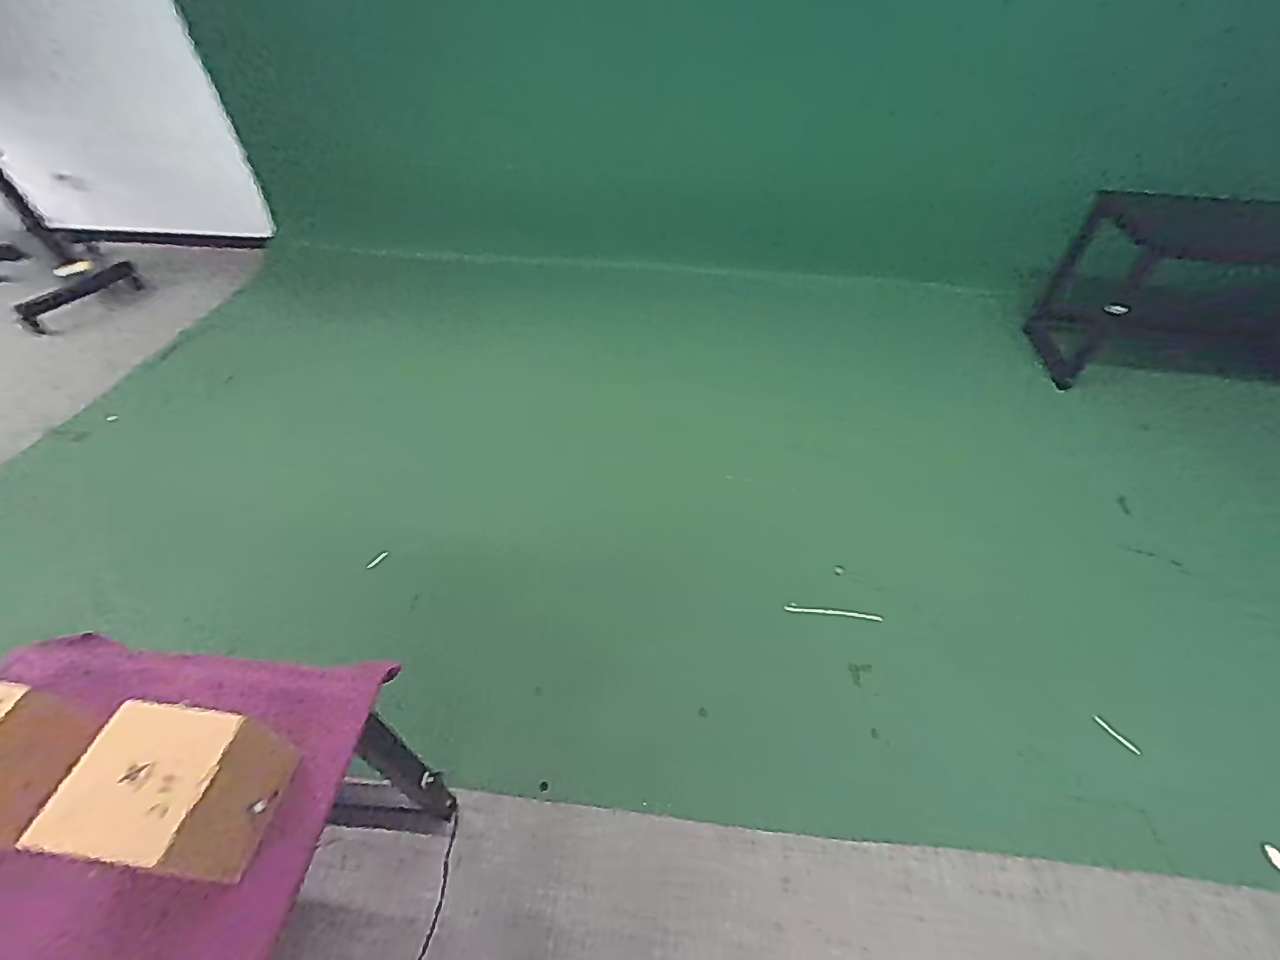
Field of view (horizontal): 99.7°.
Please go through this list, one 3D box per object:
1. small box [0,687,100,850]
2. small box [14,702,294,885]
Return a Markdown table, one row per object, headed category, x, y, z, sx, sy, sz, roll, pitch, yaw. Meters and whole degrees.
| category | x | y | z | sx | sy | sz | roll | pitch | yaw |
| --- | --- | --- | --- | --- | --- | --- | --- | --- | --- |
| small box | -0.928 | 0.389 | 0.740 | 0.179 | 0.176 | 0.168 | 6 | 47 | 5 |
| small box | -0.613 | 0.416 | 0.713 | 0.179 | 0.176 | 0.168 | 6 | 48 | 5 |
